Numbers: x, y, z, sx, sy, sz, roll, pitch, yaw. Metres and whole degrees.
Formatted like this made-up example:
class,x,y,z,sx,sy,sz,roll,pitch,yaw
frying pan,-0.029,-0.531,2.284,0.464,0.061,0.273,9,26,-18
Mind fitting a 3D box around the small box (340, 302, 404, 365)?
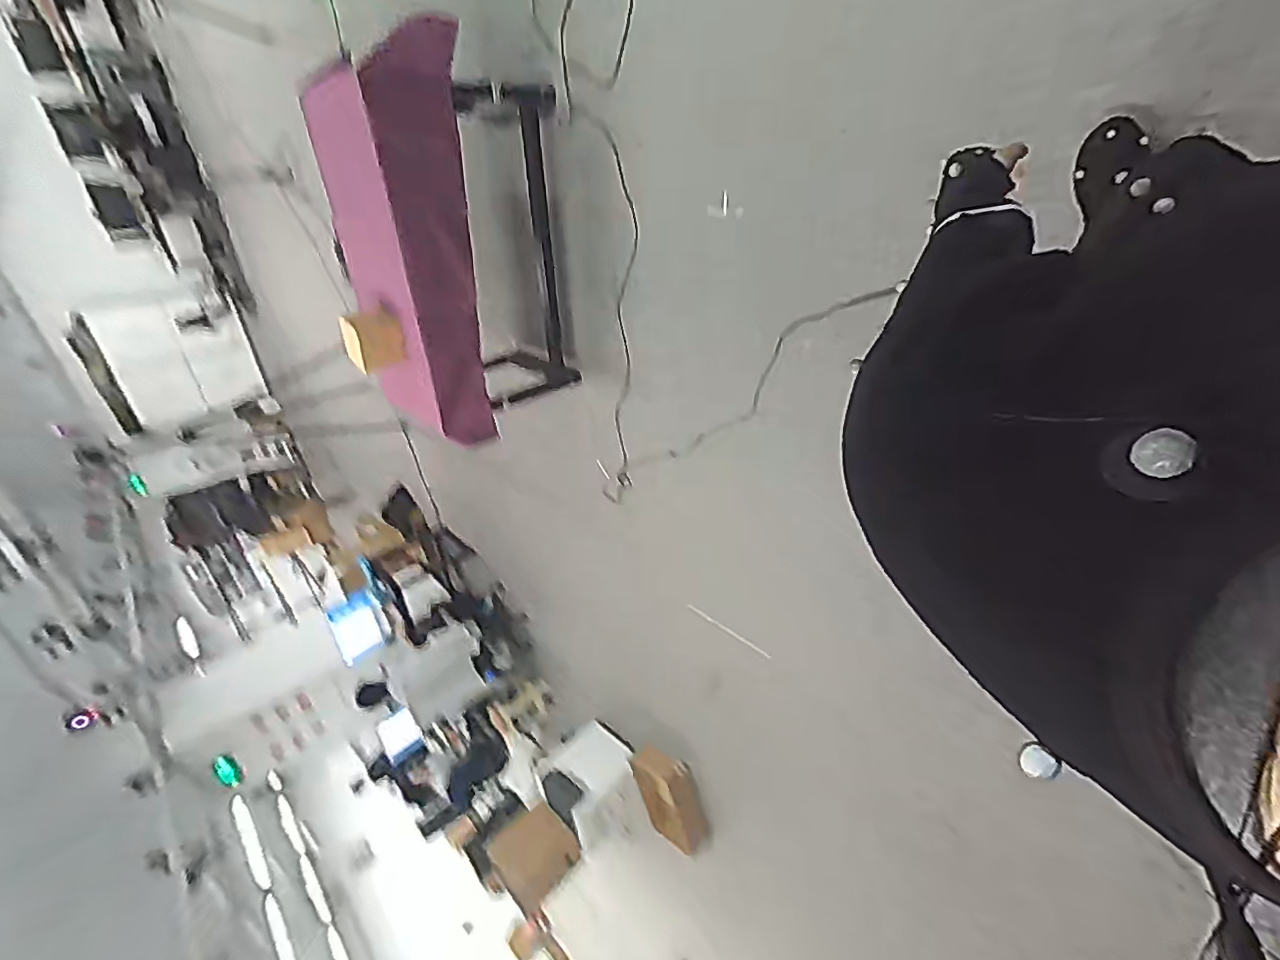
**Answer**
class,x,y,z,sx,sy,sz,roll,pitch,yaw
small box,-1.050,-0.582,2.129,0.168,0.176,0.179,37,135,31
